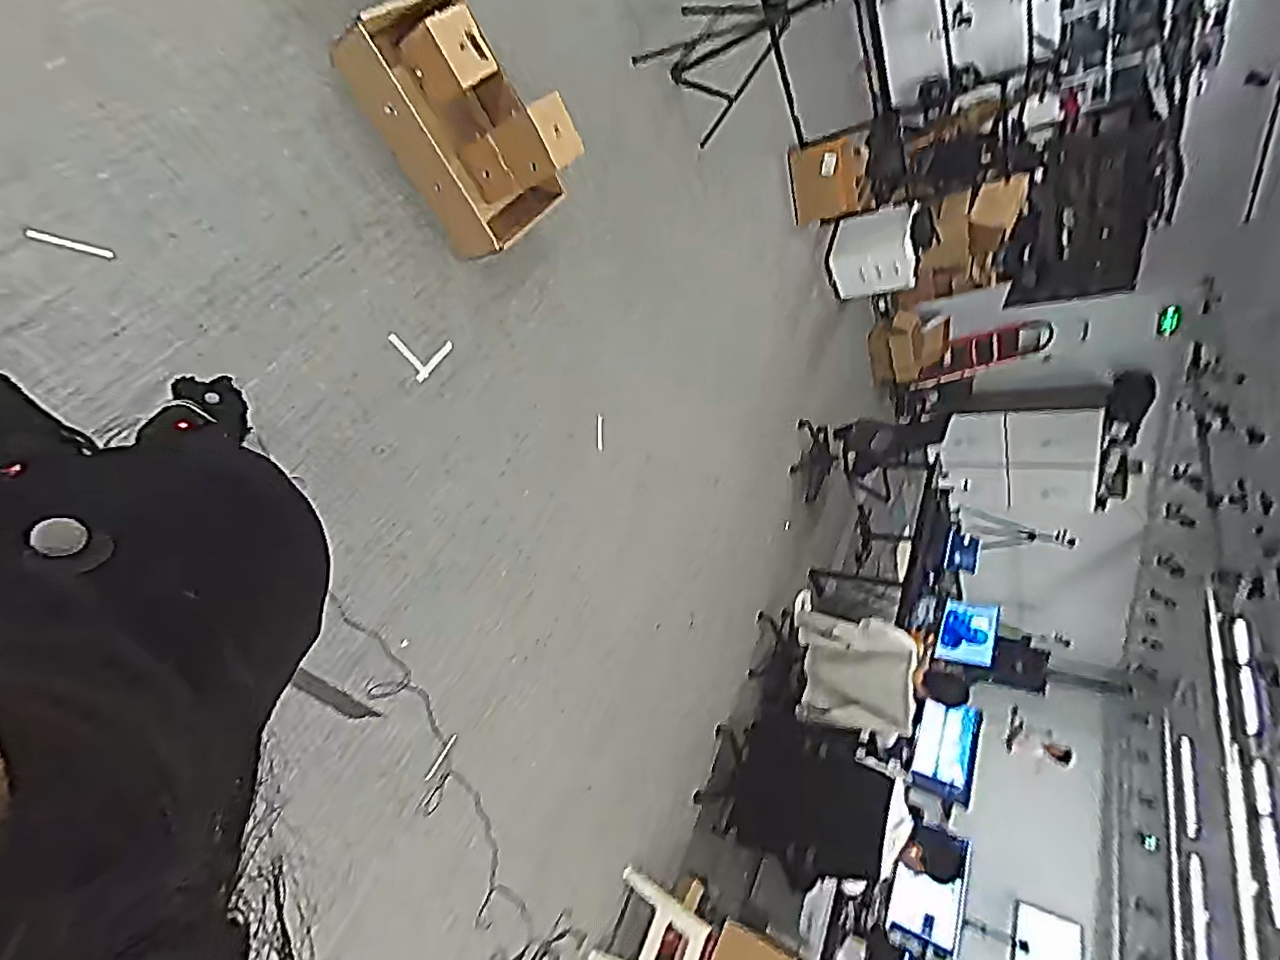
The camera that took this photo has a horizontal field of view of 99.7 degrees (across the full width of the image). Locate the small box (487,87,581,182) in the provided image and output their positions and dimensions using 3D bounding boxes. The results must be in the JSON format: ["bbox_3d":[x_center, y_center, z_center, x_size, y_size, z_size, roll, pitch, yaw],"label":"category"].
[{"bbox_3d":[-0.317,-1.025,1.621,0.179,0.176,0.168,58,48,-33],"label":"small box"}]

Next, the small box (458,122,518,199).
[{"bbox_3d":[-0.450,-1.028,1.720,0.179,0.176,0.168,-56,129,-32],"label":"small box"}]
